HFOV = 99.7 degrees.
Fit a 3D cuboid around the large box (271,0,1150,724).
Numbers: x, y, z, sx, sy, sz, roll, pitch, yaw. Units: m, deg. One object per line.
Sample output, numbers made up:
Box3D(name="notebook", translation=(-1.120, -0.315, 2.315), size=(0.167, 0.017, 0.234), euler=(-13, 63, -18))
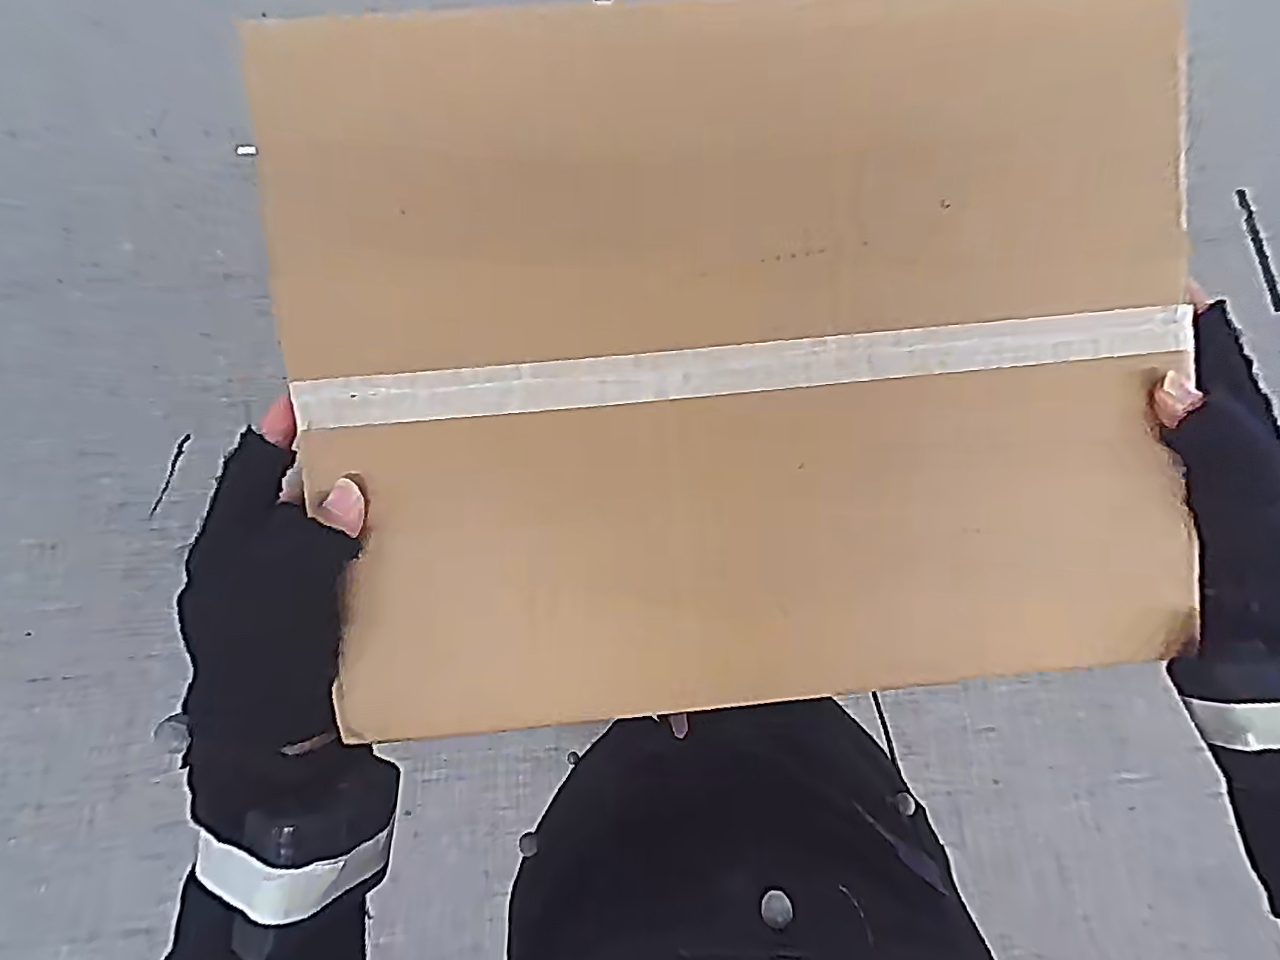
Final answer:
Box3D(name="large box", translation=(0.042, -0.064, 0.404), size=(0.408, 0.320, 0.320), euler=(-5, 94, -2))
